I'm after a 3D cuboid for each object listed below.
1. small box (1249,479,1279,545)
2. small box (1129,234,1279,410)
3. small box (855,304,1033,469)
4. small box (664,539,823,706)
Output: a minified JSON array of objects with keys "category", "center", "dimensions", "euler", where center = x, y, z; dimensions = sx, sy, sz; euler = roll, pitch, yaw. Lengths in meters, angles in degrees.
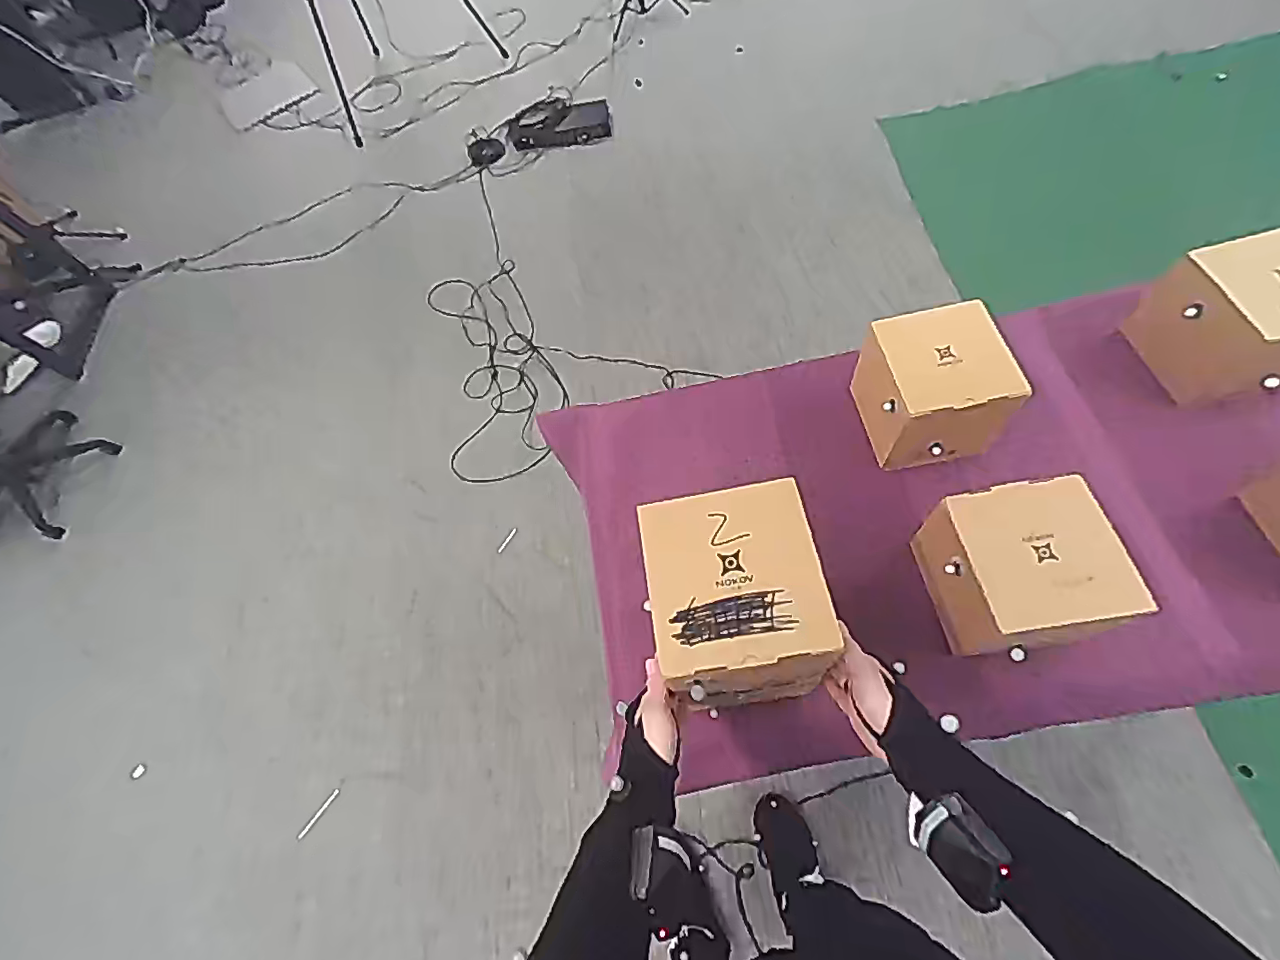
[{"category":"small box","center":[0.932,0.049,0.656],"dimensions":[0.168,0.176,0.179],"euler":[-10,59,7]},{"category":"small box","center":[0.899,-0.232,0.805],"dimensions":[0.168,0.176,0.179],"euler":[-13,62,7]},{"category":"small box","center":[0.454,-0.140,0.845],"dimensions":[0.168,0.176,0.179],"euler":[-10,63,4]},{"category":"small box","center":[0.133,0.199,0.726],"dimensions":[0.168,0.176,0.179],"euler":[-10,61,4]}]
